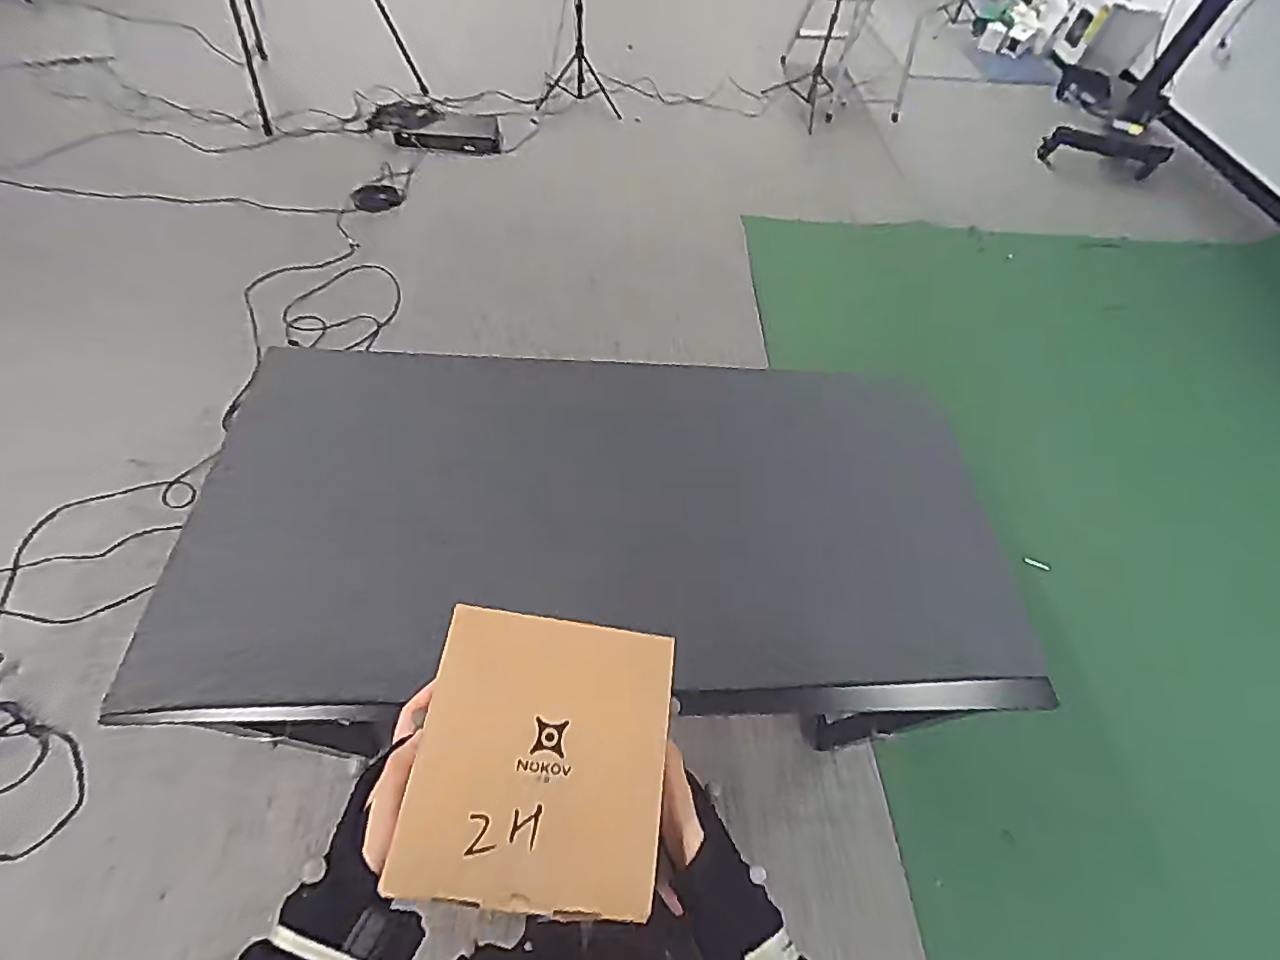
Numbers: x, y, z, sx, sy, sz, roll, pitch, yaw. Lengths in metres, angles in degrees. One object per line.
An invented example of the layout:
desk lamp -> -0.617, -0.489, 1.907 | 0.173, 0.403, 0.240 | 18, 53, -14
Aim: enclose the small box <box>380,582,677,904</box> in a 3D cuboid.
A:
small box -> -0.076, 0.201, 0.427 | 0.168, 0.176, 0.179 | 11, 61, -5
